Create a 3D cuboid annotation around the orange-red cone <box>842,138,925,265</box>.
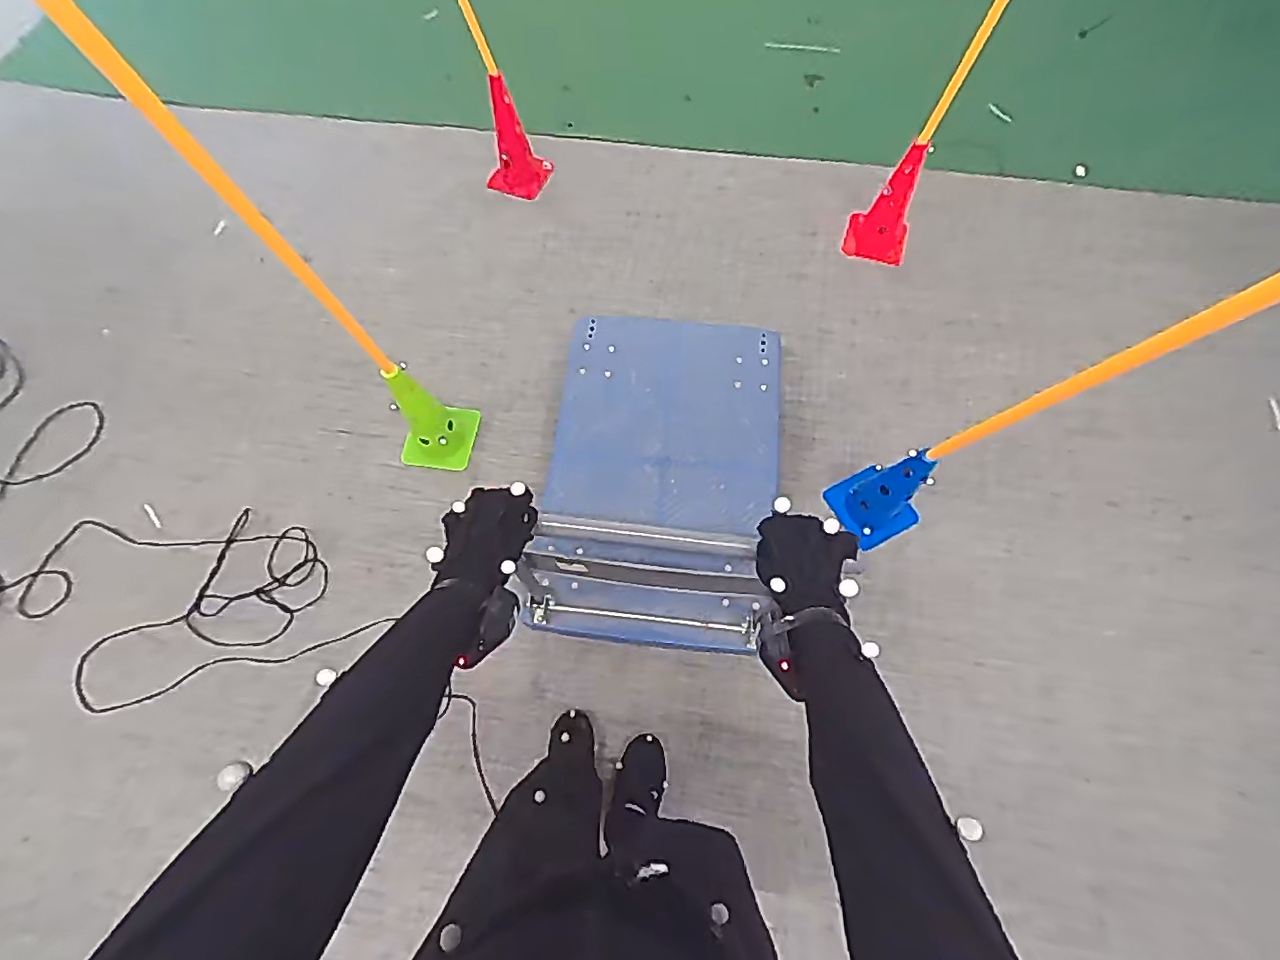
[{"bbox_3d":[0.794,-0.884,1.684,0.198,0.360,0.199,18,71,10],"label":"orange-red cone"}]
